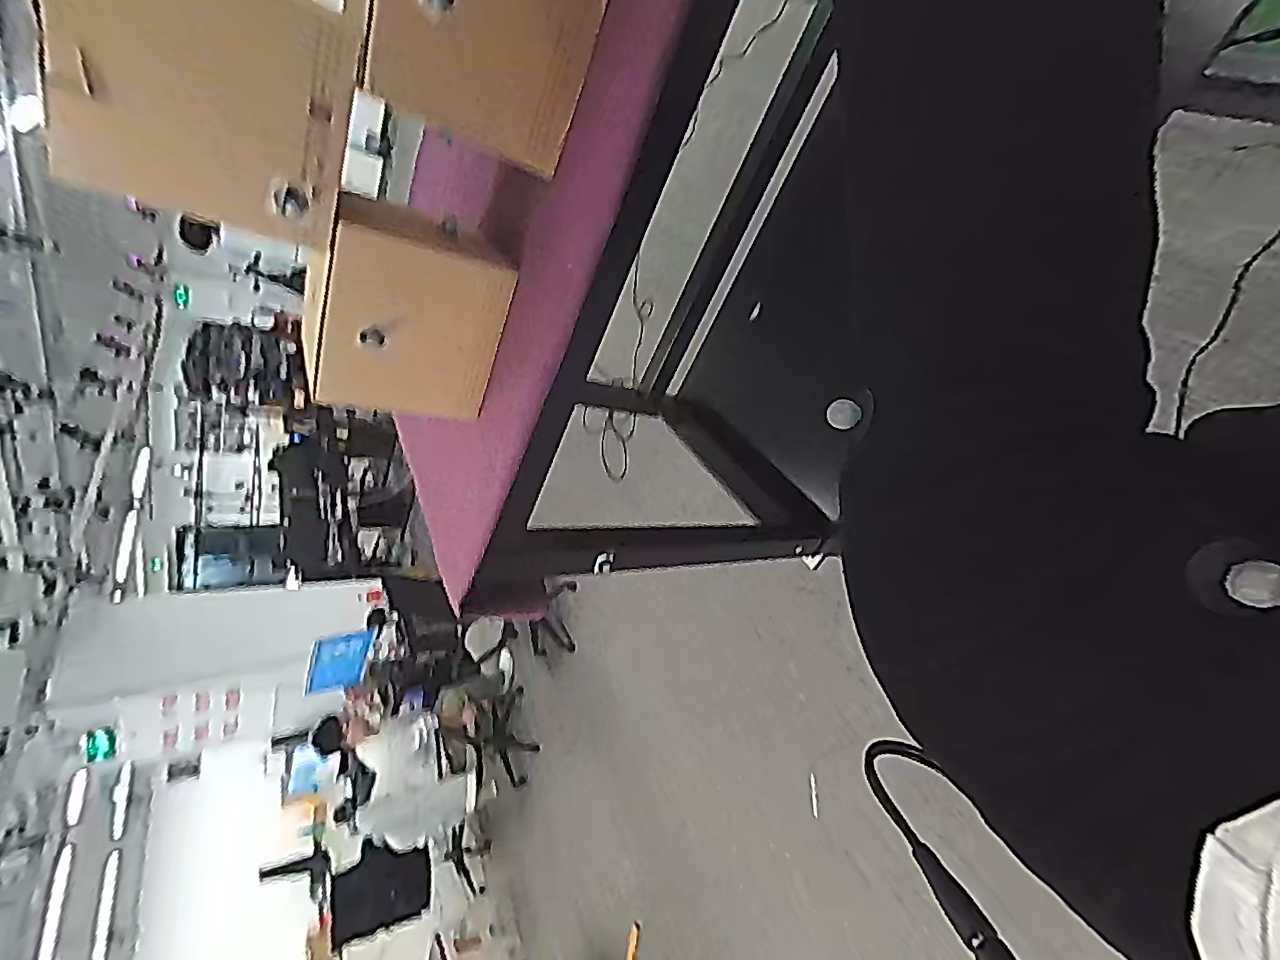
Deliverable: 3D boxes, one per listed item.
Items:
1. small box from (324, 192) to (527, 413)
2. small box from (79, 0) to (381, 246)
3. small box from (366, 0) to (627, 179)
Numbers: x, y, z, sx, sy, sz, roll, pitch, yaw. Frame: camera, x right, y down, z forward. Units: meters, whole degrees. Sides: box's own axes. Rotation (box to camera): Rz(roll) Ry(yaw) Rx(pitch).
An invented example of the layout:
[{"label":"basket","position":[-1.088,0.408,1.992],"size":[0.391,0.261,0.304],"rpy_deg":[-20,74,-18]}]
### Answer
[{"label":"small box","position":[-0.243,-0.190,0.603],"size":[0.168,0.176,0.179],"rpy_deg":[51,126,41]},{"label":"small box","position":[-0.319,-0.314,0.442],"size":[0.179,0.176,0.168],"rpy_deg":[56,129,40]},{"label":"small box","position":[-0.132,-0.396,0.472],"size":[0.168,0.176,0.179],"rpy_deg":[54,128,40]}]
